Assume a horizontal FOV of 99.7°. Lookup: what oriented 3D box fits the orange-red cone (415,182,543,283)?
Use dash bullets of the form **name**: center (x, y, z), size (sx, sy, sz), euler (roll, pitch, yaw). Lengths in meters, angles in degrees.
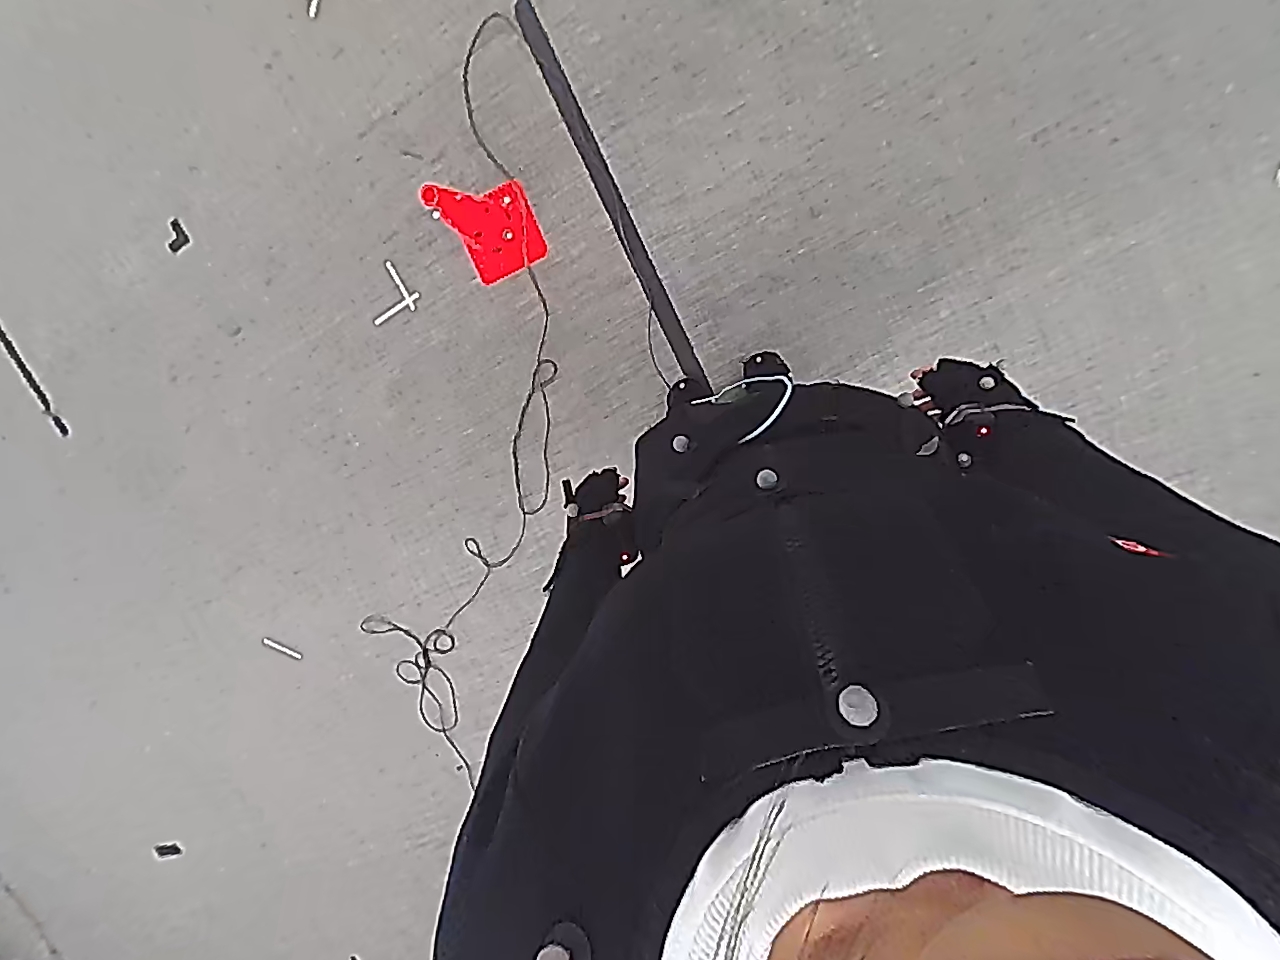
- **orange-red cone**: center (-0.386, -0.584, 1.198), size (0.199, 0.360, 0.198), euler (-20, 98, 14)
